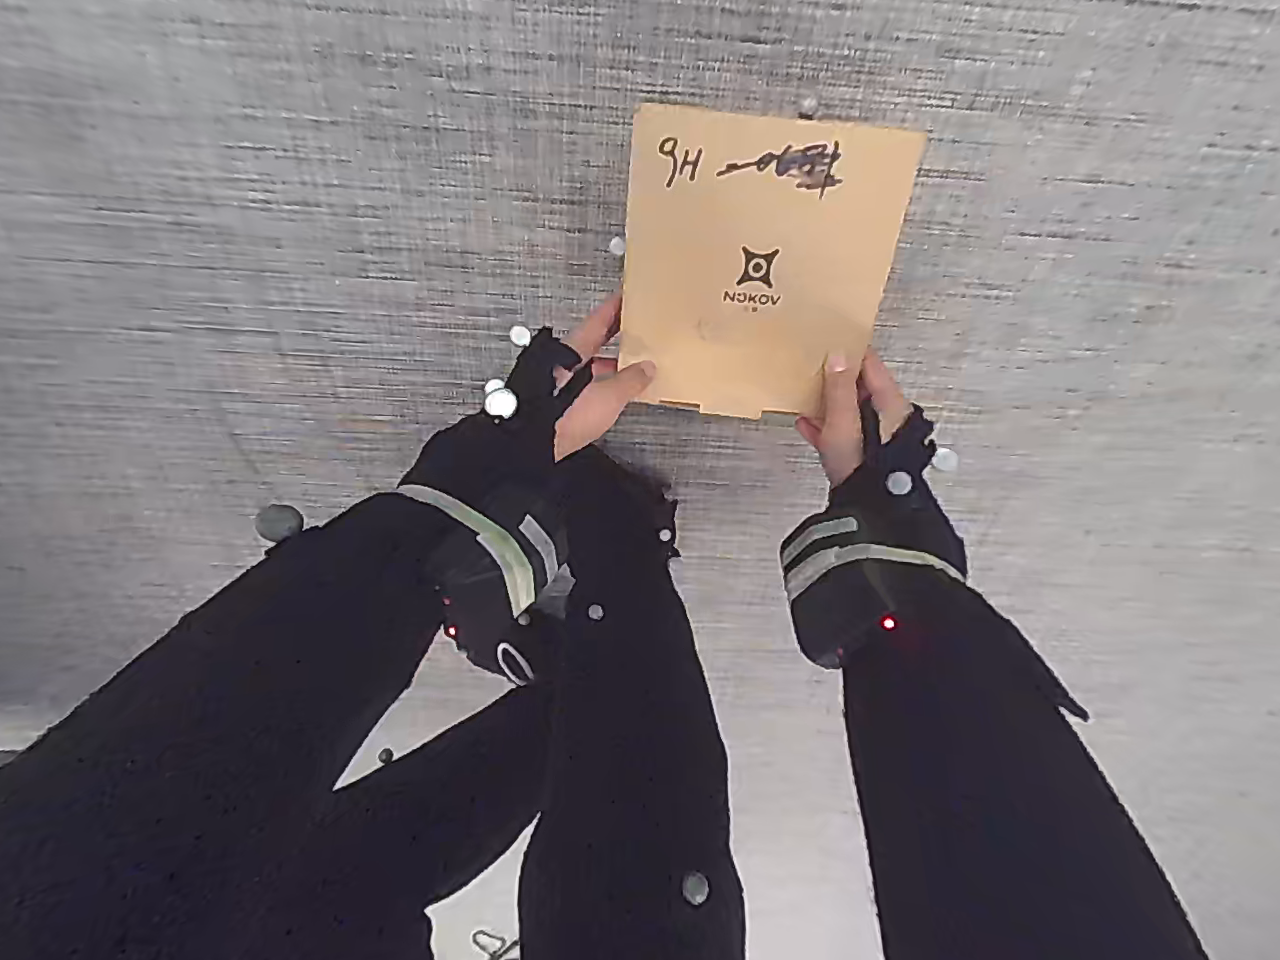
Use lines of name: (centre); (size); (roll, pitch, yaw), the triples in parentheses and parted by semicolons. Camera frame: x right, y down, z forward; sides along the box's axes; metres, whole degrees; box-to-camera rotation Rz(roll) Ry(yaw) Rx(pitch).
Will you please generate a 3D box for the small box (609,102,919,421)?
small box: (0.069, -0.163, 0.407); (0.168, 0.176, 0.179); (5, 120, -2)
